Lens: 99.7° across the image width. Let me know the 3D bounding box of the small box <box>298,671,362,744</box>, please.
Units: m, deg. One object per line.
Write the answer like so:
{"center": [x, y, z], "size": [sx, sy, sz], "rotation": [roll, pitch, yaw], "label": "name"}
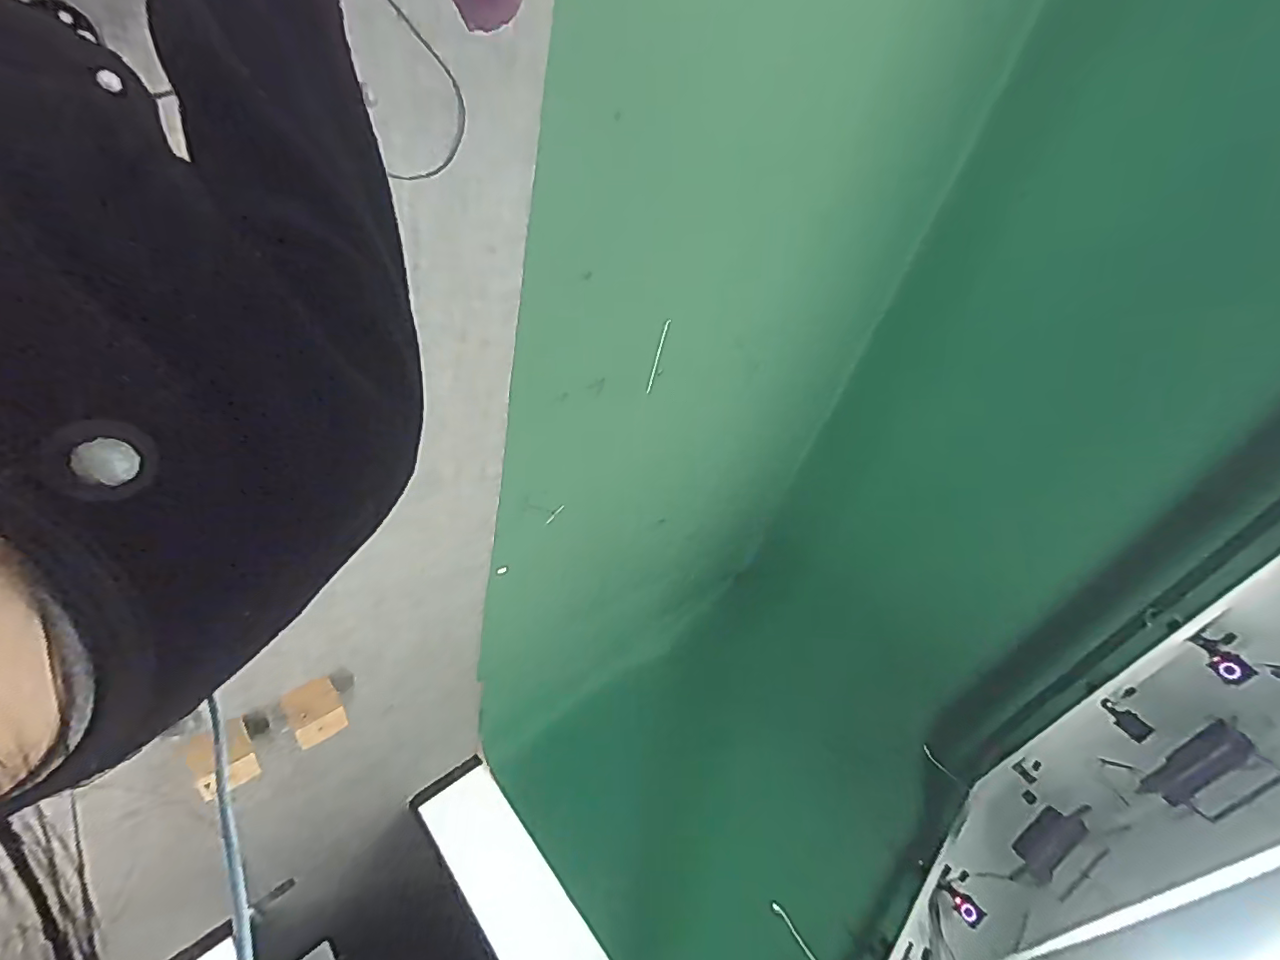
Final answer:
{"center": [-1.265, 0.921, 2.198], "size": [0.179, 0.176, 0.168], "rotation": [-25, 142, -38], "label": "small box"}
